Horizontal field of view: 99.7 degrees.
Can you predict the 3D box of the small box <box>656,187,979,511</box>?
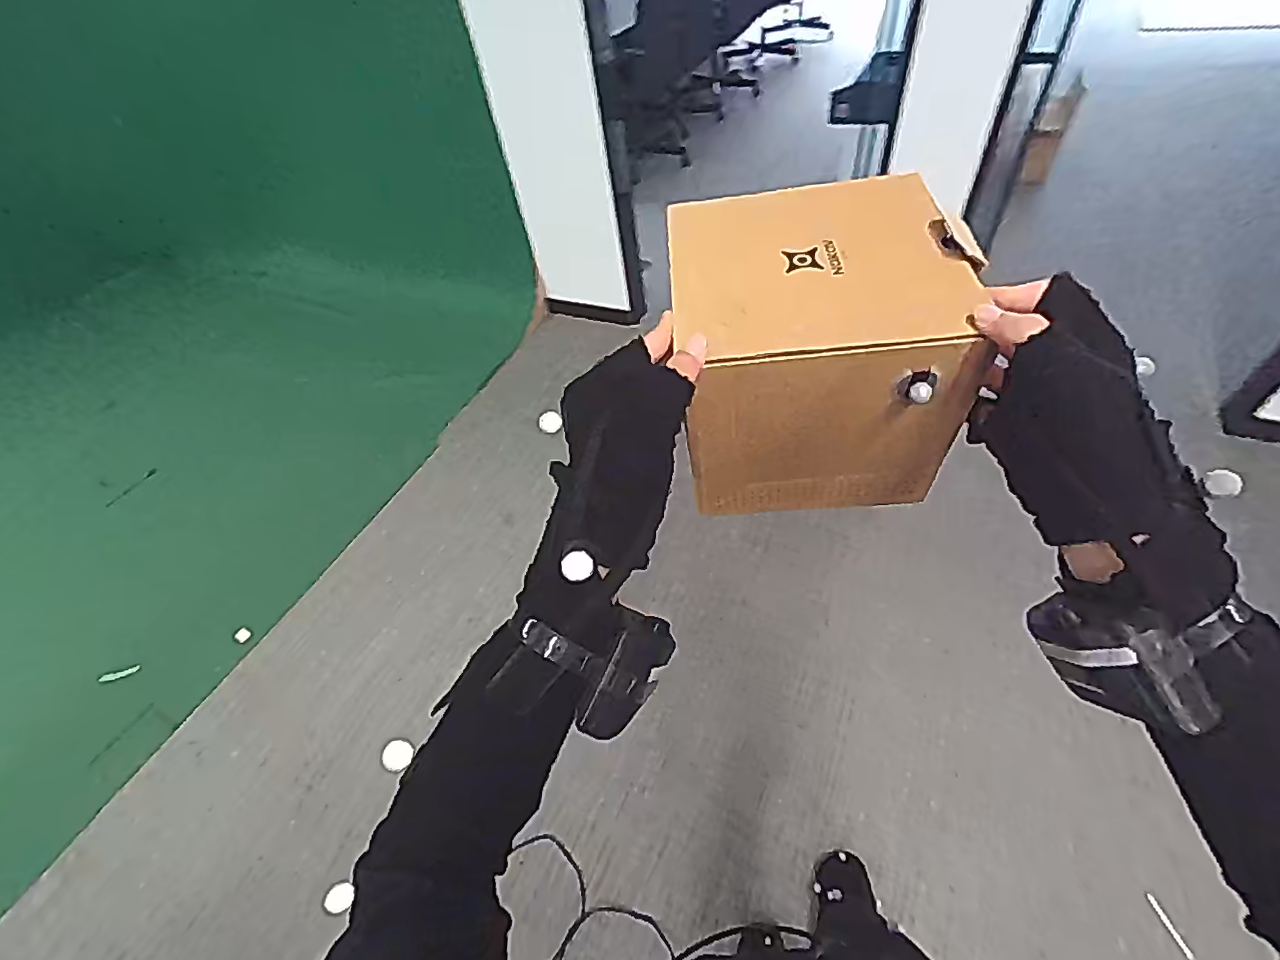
[{"bbox_3d":[0.109,-0.088,0.409,0.179,0.176,0.168,-5,54,6],"label":"small box"}]
